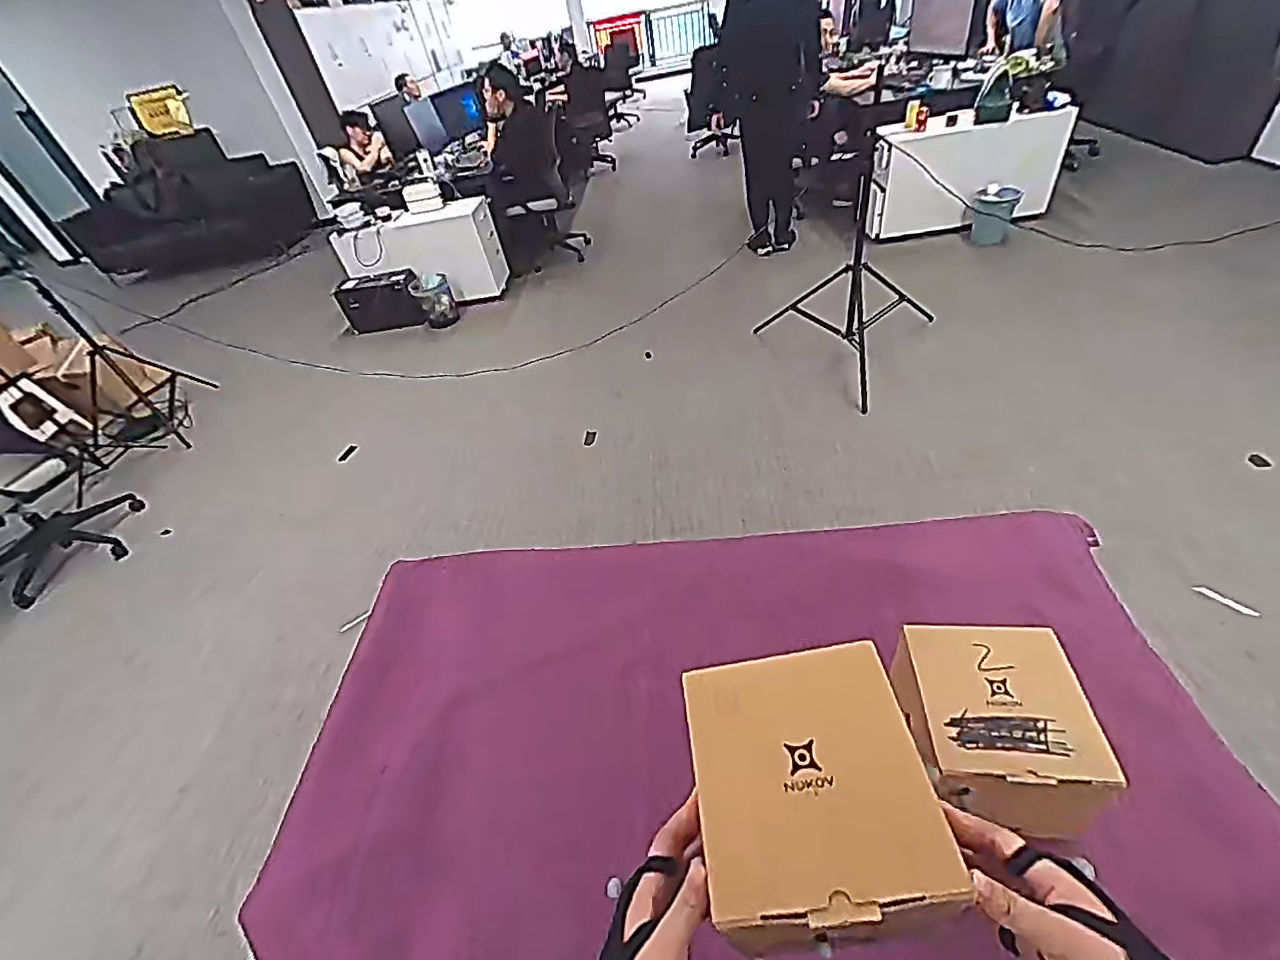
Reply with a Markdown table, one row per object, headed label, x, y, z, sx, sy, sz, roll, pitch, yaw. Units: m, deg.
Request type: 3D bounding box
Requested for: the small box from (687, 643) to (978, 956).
| label | x | y | z | sx | sy | sz | roll | pitch | yaw |
| --- | --- | --- | --- | --- | --- | --- | --- | --- | --- |
| small box | 0.139 | 0.267 | 0.452 | 0.168 | 0.176 | 0.179 | -12 | 43 | 6 |
